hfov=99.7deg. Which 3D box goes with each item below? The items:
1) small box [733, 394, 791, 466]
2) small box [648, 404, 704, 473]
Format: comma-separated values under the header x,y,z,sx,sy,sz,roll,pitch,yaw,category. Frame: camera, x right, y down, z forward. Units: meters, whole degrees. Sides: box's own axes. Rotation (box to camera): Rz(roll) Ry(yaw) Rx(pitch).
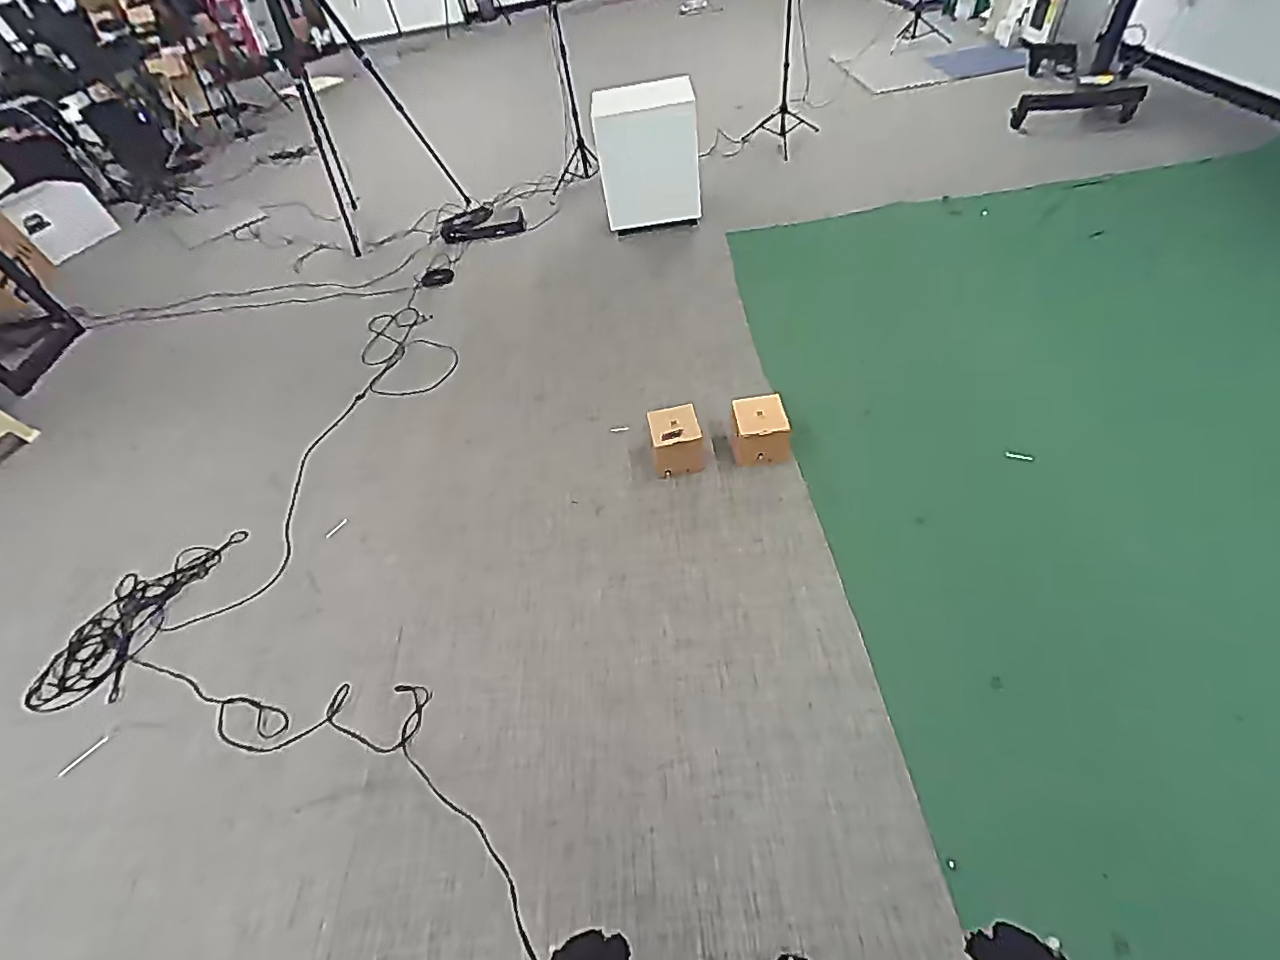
x,y,z,sx,sy,sz,roll,pitch,yaw,category
0.419,-0.172,1.891,0.168,0.176,0.179,-8,50,3,small box
0.128,-0.139,1.908,0.168,0.176,0.179,-10,49,0,small box
